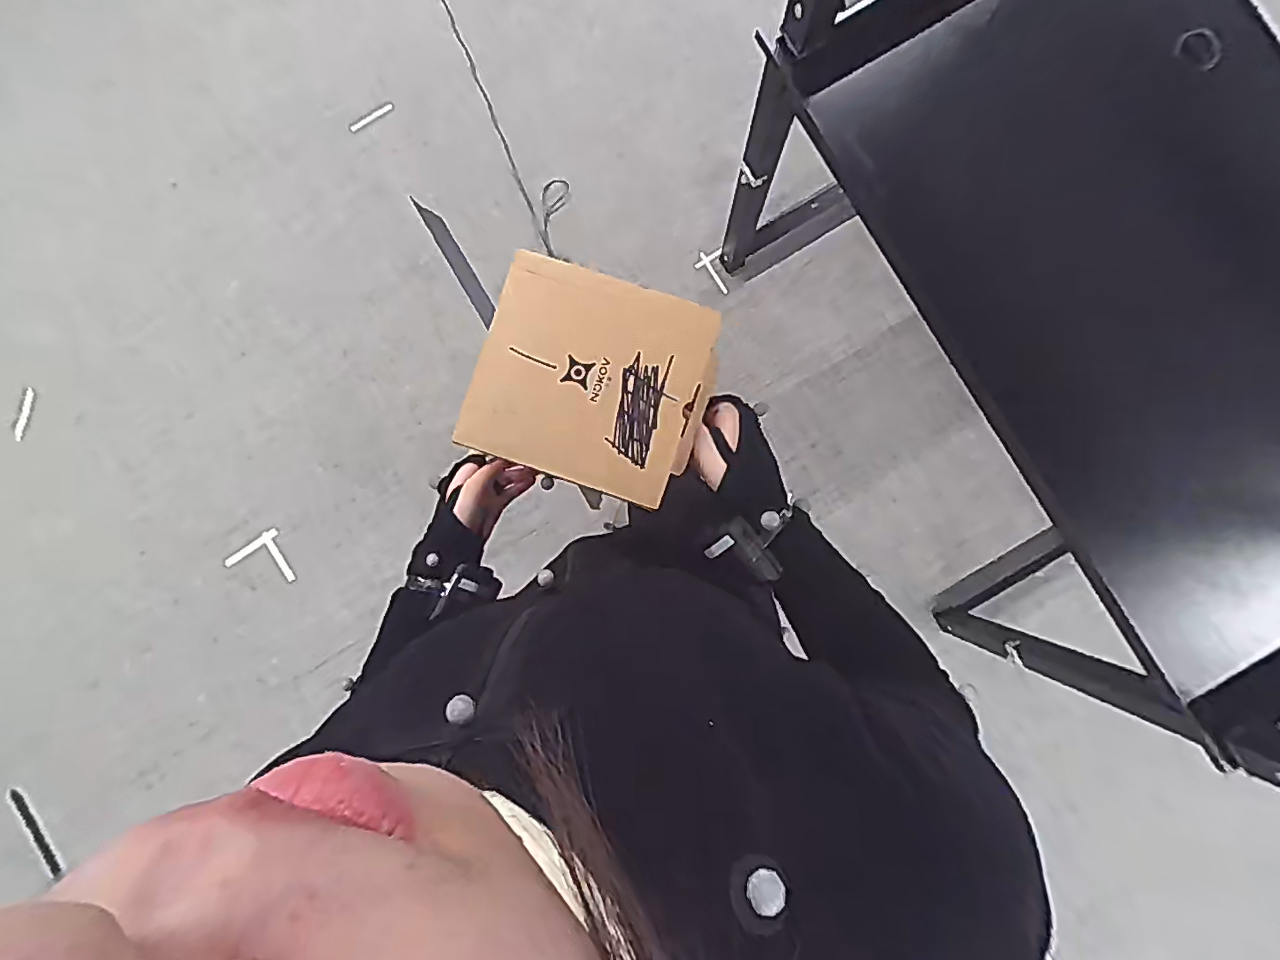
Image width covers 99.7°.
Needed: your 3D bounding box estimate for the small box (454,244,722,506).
[{"bbox_3d":[-0.046,-0.083,0.508,0.179,0.176,0.168,18,88,-5],"label":"small box"}]
